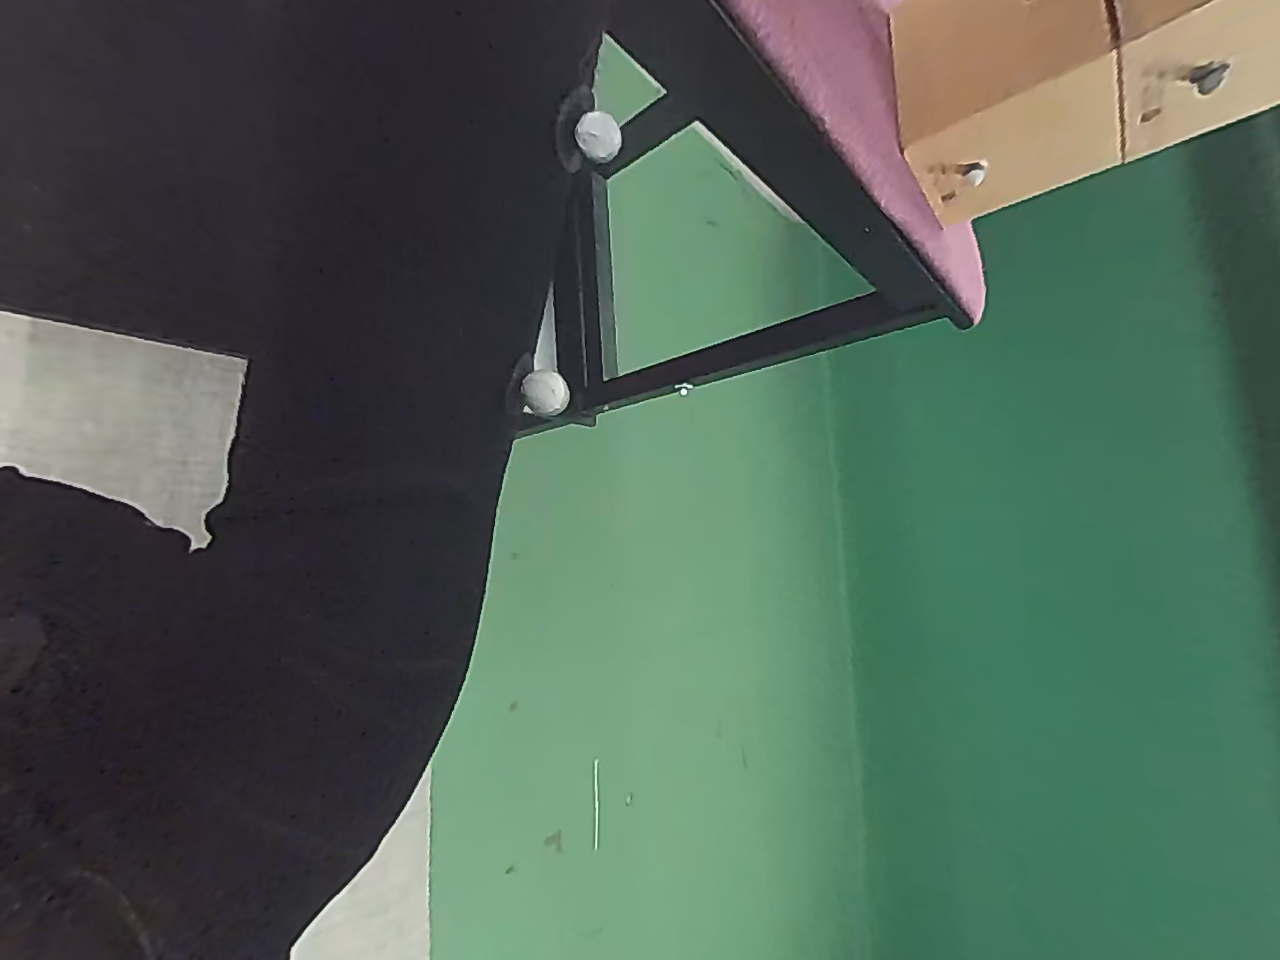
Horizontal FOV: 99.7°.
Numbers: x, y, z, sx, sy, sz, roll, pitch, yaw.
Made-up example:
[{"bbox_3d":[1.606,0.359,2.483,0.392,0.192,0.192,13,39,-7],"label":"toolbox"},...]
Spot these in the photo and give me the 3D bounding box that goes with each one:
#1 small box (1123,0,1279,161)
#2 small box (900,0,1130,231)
[{"bbox_3d":[0.501,-0.419,0.447,0.168,0.176,0.179,13,74,-45],"label":"small box"},{"bbox_3d":[0.379,-0.399,0.555,0.168,0.176,0.179,14,74,-46],"label":"small box"}]
